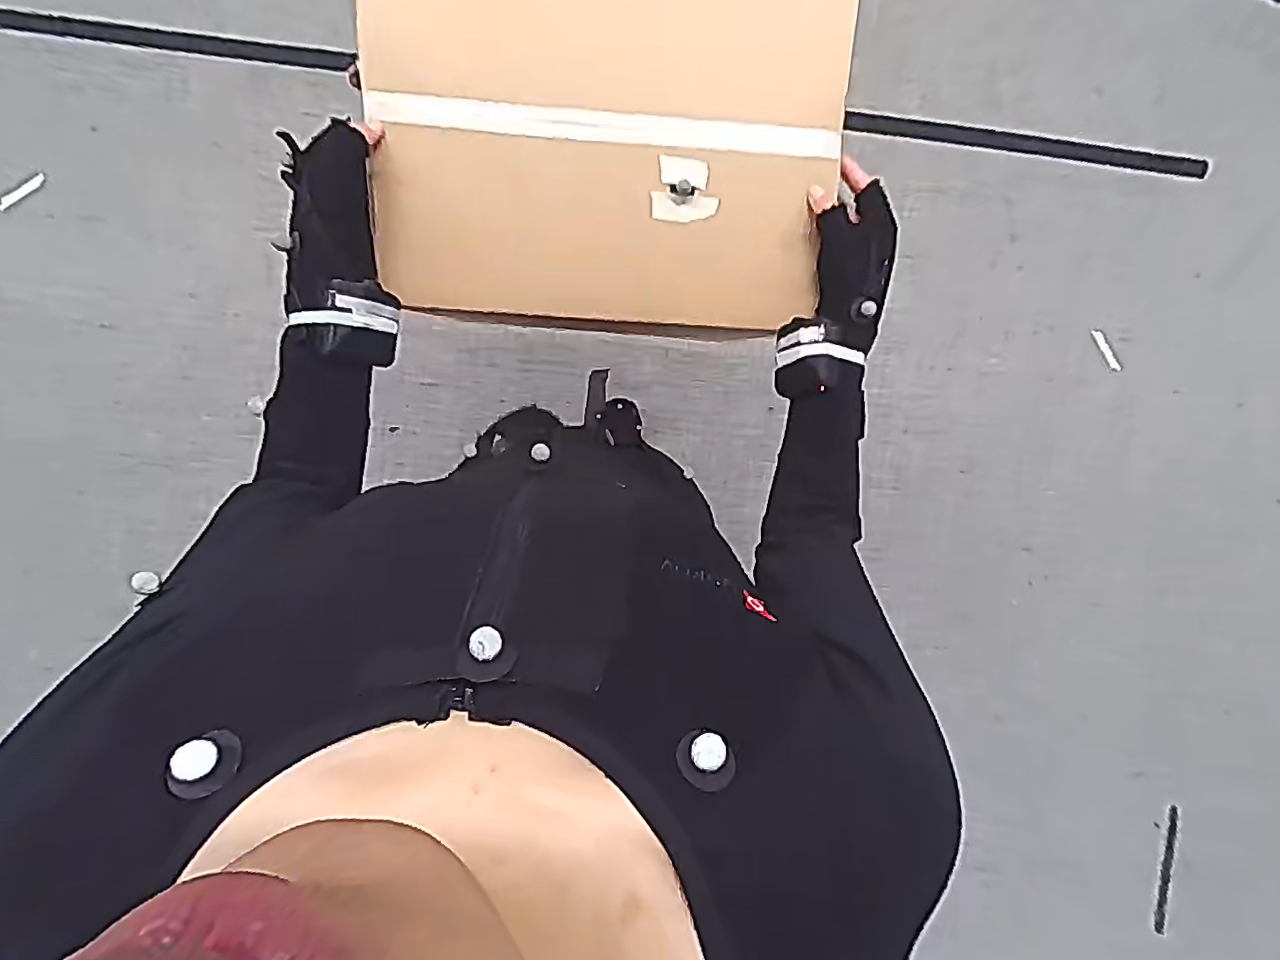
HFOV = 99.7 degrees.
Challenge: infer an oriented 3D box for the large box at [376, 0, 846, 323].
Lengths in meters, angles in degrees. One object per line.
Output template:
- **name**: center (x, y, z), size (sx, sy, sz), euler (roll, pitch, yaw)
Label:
- **large box**: center (-0.034, -0.352, 0.621), size (0.408, 0.320, 0.320), euler (2, 105, -4)
